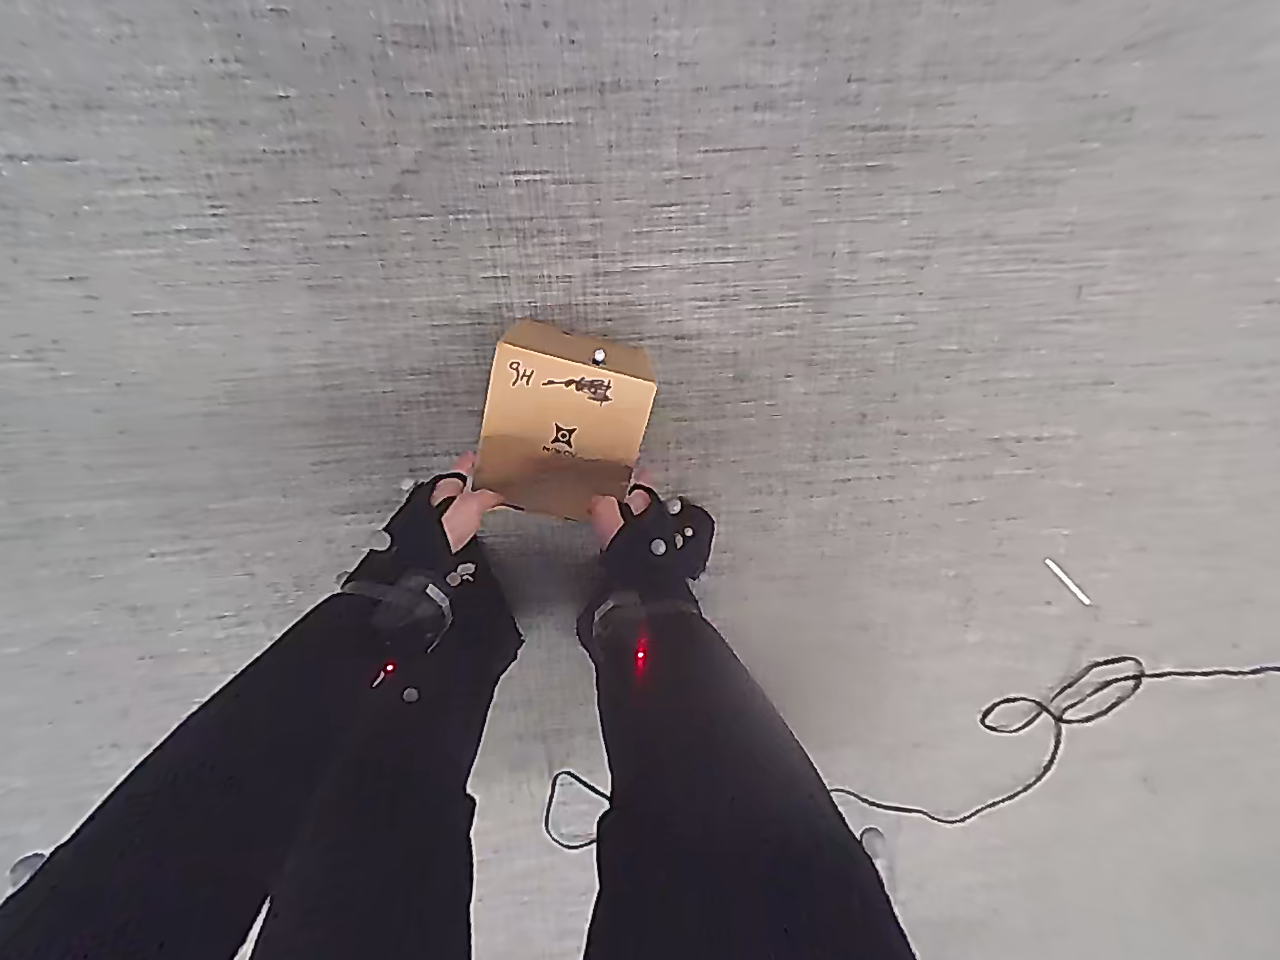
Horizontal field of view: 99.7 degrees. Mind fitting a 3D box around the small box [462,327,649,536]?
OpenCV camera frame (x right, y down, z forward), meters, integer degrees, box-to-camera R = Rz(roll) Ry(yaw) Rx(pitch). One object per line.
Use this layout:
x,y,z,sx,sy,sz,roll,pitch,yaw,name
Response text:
-0.094,-0.063,0.629,0.168,0.176,0.179,12,112,-10,small box
